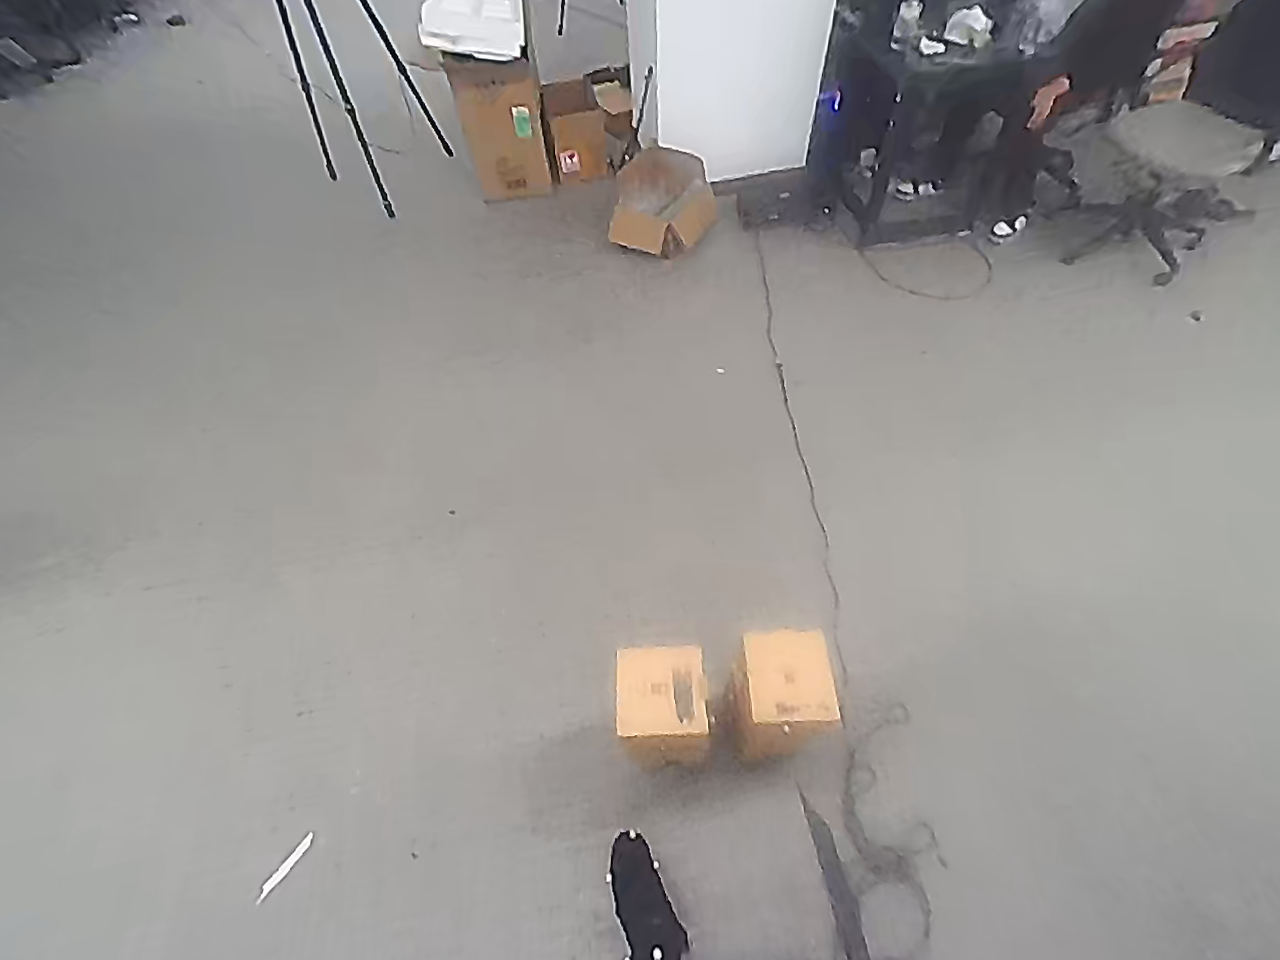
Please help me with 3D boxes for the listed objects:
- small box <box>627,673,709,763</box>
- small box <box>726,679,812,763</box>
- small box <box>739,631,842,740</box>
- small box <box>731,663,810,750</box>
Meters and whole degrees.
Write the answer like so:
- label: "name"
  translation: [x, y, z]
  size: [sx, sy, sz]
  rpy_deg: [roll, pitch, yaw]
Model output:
- label: "small box"
  translation: [0.063, 0.553, 1.253]
  size: [0.179, 0.176, 0.168]
  rpy_deg: [-3, 55, 3]
- label: "small box"
  translation: [0.323, 0.611, 1.396]
  size: [0.168, 0.176, 0.179]
  rpy_deg: [-10, 56, -2]
- label: "small box"
  translation: [0.302, 0.429, 1.126]
  size: [0.168, 0.176, 0.179]
  rpy_deg: [-3, 54, 3]
- label: "small box"
  translation: [0.314, 0.521, 1.263]
  size: [0.179, 0.176, 0.168]
  rpy_deg: [-9, 55, -1]
